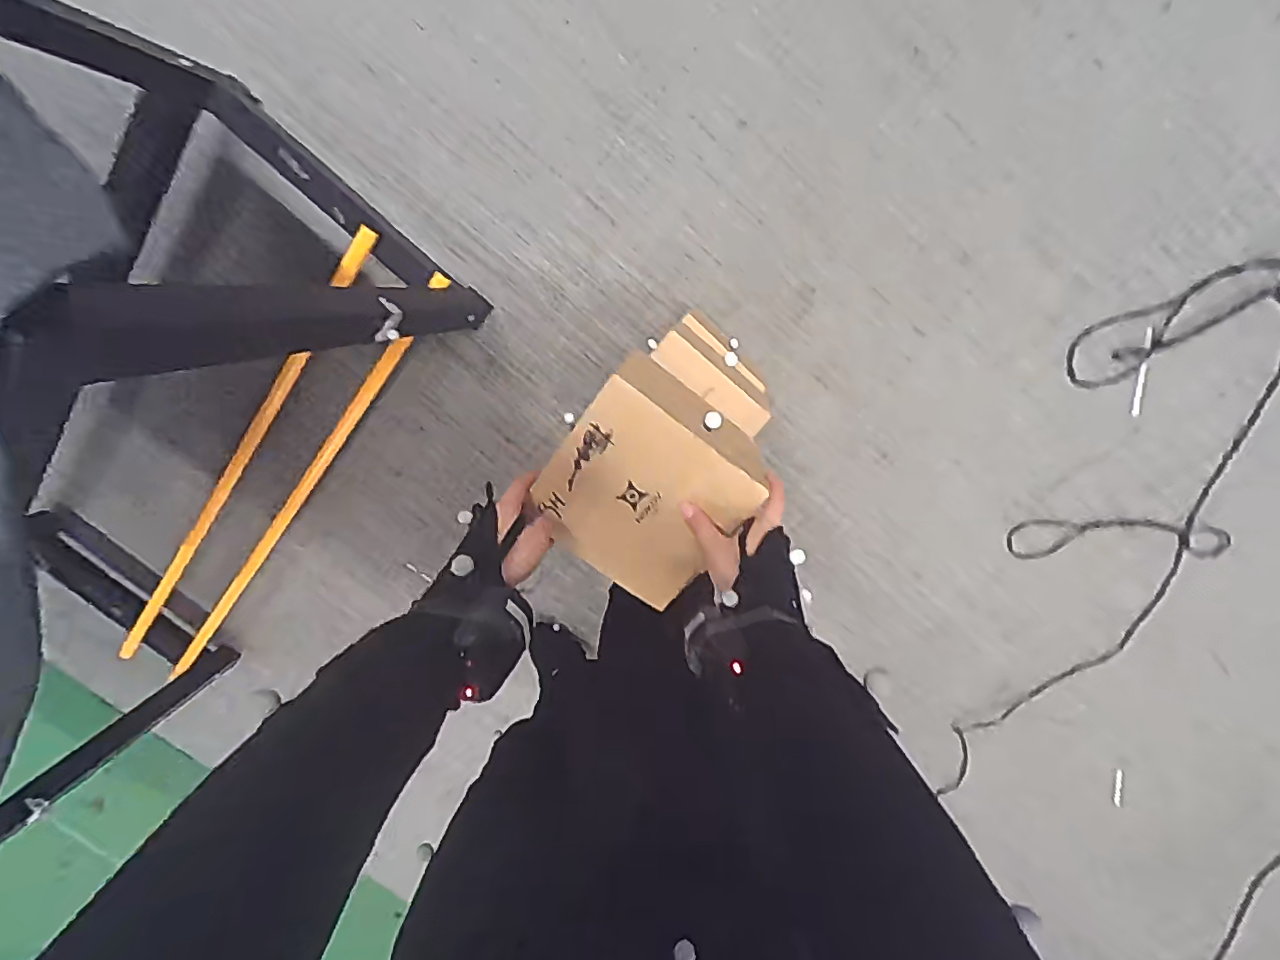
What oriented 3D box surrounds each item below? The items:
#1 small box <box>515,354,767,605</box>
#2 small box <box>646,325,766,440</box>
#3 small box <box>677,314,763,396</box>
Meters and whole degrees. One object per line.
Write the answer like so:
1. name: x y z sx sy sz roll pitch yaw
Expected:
1. small box: 0.005 -0.012 0.566 0.179 0.176 0.168 37 109 -10
2. small box: 0.056 -0.099 0.766 0.168 0.176 0.179 40 109 -7
3. small box: 0.083 -0.162 0.915 0.168 0.176 0.179 43 108 -6
